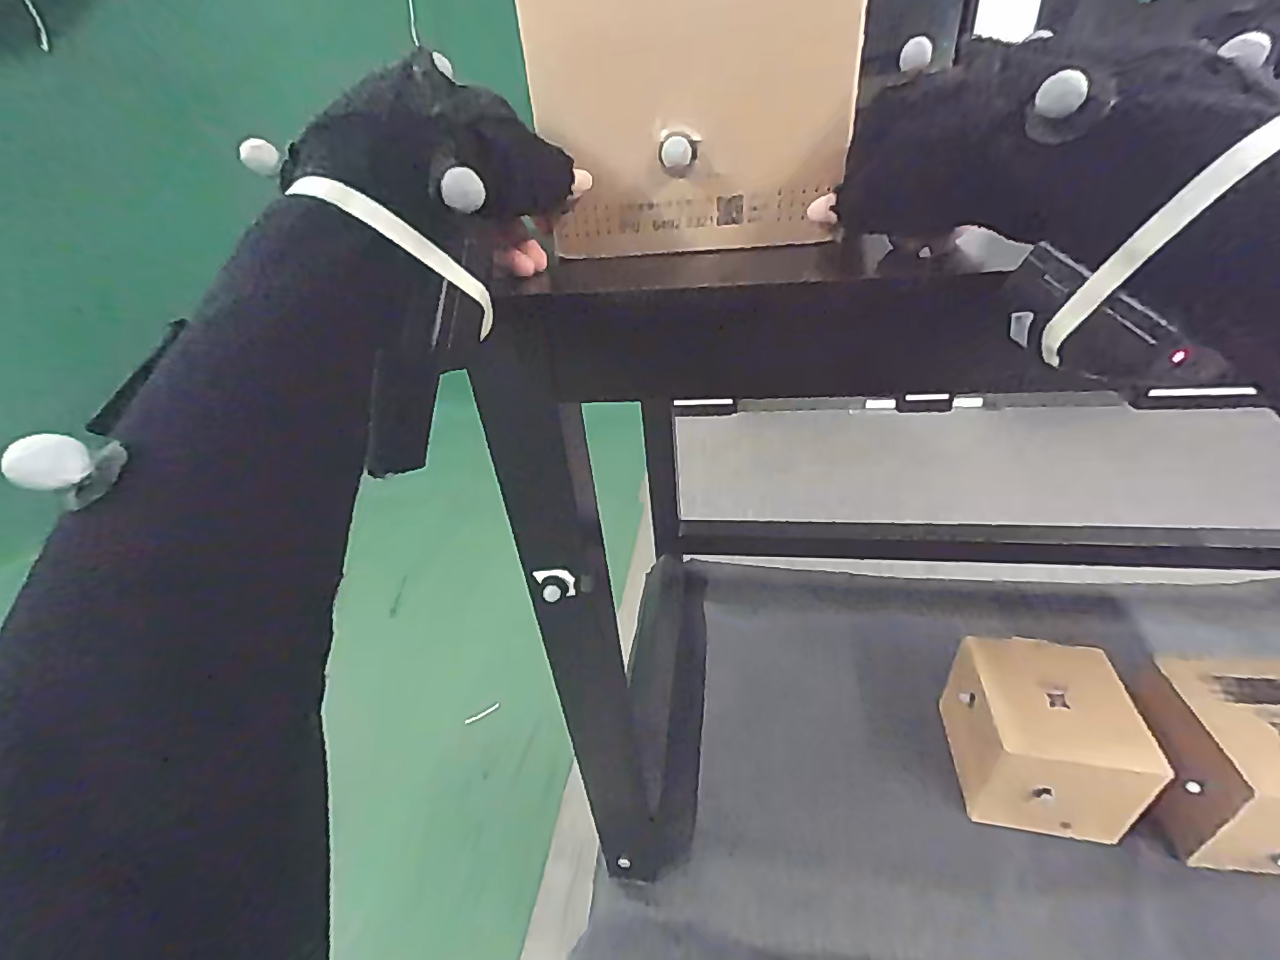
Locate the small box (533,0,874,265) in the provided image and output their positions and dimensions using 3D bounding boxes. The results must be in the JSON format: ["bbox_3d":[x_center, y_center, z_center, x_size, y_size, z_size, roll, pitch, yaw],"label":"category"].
[{"bbox_3d":[0.038,-0.240,0.340,0.168,0.176,0.179,-1,34,9],"label":"small box"}]

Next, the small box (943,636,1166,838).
[{"bbox_3d":[0.524,0.337,0.718,0.168,0.176,0.179,2,34,13],"label":"small box"}]
